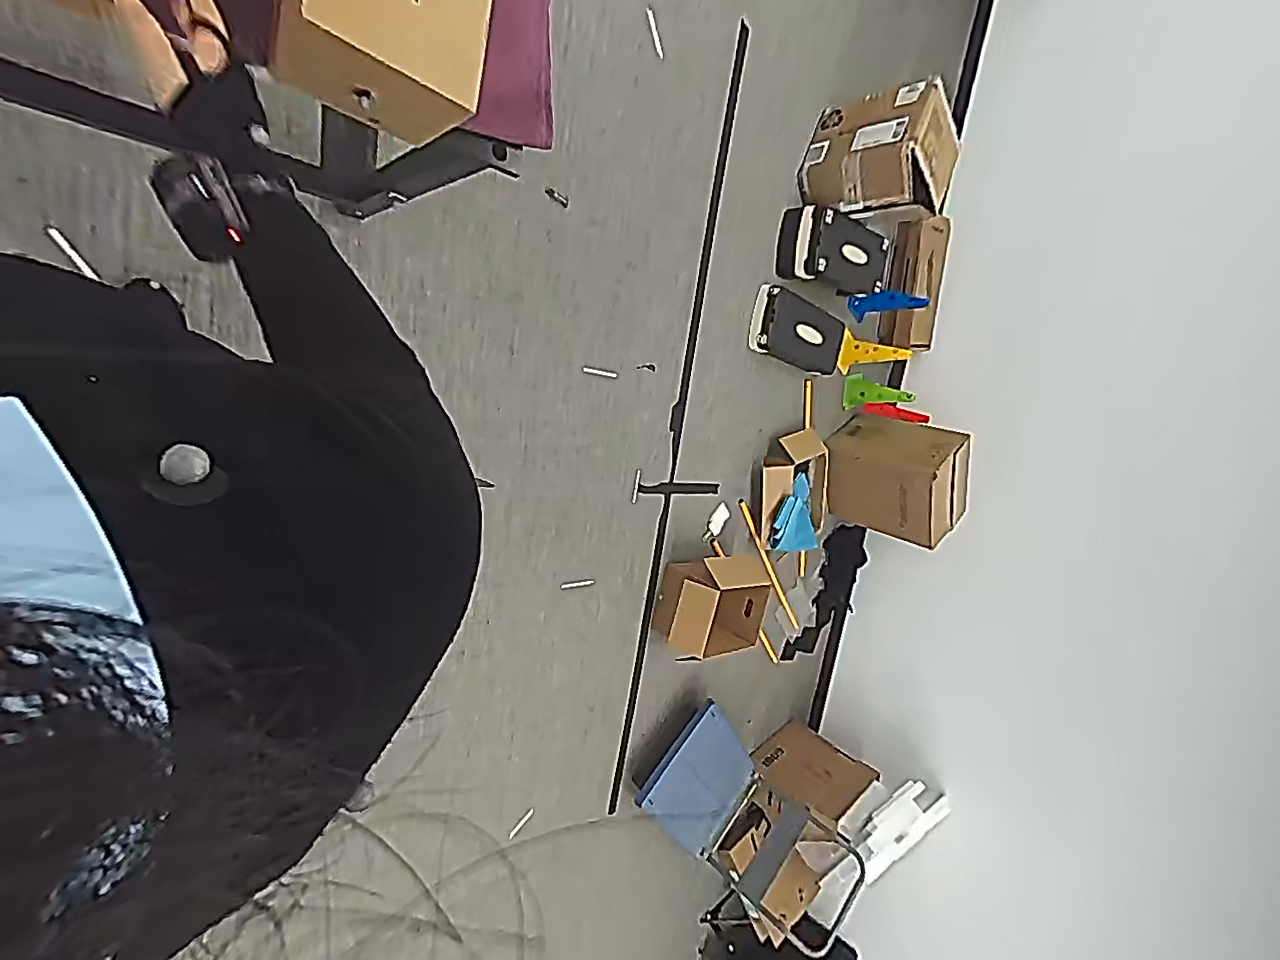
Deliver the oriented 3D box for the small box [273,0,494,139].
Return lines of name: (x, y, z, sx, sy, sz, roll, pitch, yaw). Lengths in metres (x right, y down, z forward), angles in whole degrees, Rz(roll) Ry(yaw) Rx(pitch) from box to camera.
small box: (-0.270, -0.499, 0.569, 0.168, 0.176, 0.179, 4, 99, -45)
